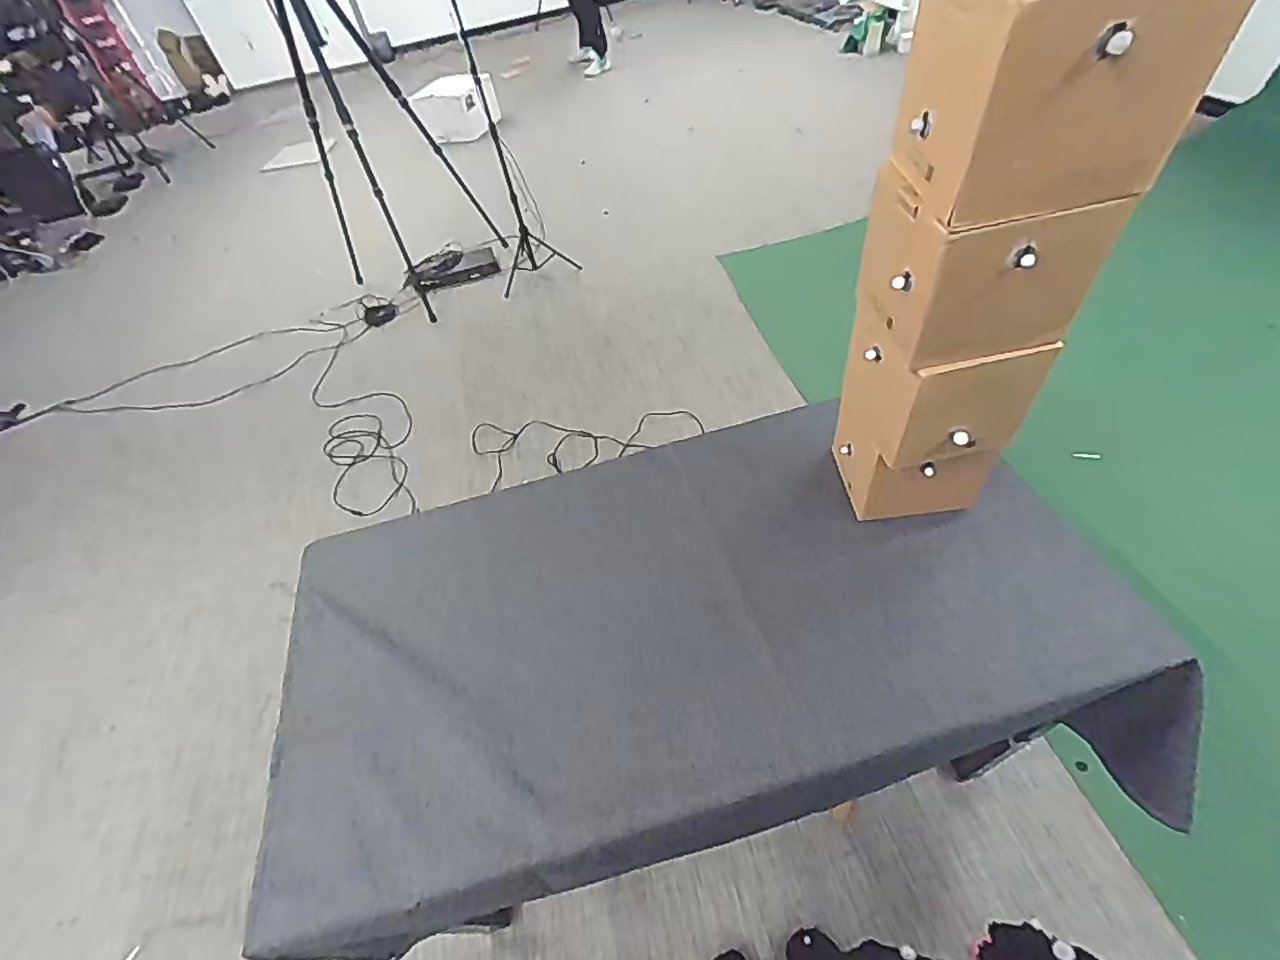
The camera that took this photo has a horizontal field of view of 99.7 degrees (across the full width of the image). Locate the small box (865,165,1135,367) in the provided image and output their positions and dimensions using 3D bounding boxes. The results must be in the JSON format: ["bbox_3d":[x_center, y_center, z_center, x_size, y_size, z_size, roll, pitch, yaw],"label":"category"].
[{"bbox_3d":[0.366,-0.245,0.599,0.179,0.176,0.168,-10,50,3],"label":"small box"}]

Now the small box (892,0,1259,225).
[{"bbox_3d":[0.351,-0.352,0.477,0.179,0.176,0.168,-8,50,5],"label":"small box"}]

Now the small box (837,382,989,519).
[{"bbox_3d":[0.422,-0.052,0.857,0.179,0.176,0.168,-7,50,5],"label":"small box"}]

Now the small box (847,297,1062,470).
[{"bbox_3d":[0.393,-0.141,0.721,0.168,0.176,0.179,-12,50,1],"label":"small box"}]
